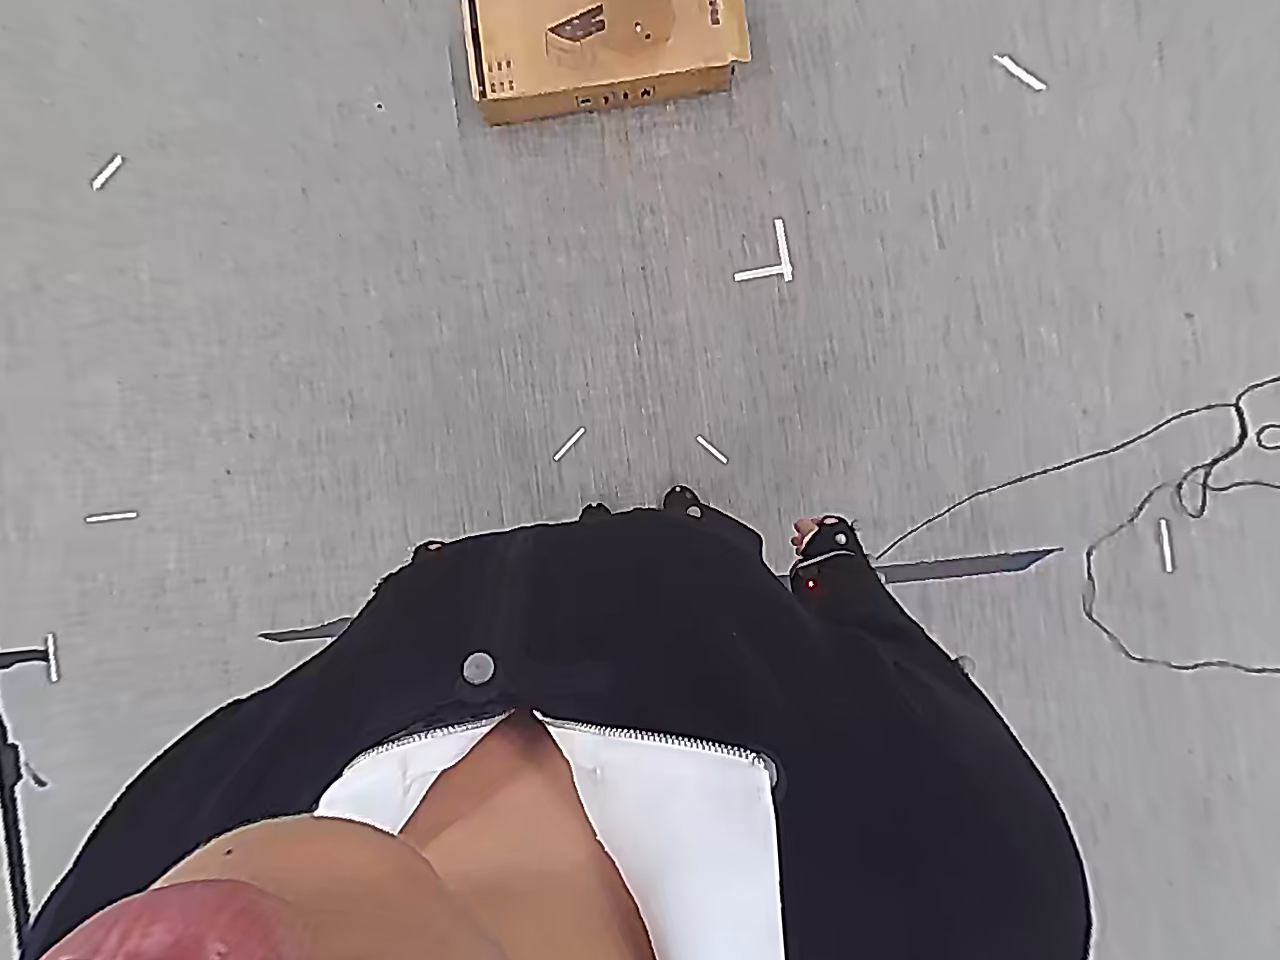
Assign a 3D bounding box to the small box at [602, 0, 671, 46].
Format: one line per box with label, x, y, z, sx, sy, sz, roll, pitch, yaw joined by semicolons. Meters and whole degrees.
small box;-0.016;-1.228;1.331;0.168;0.176;0.179;-8;88;3
